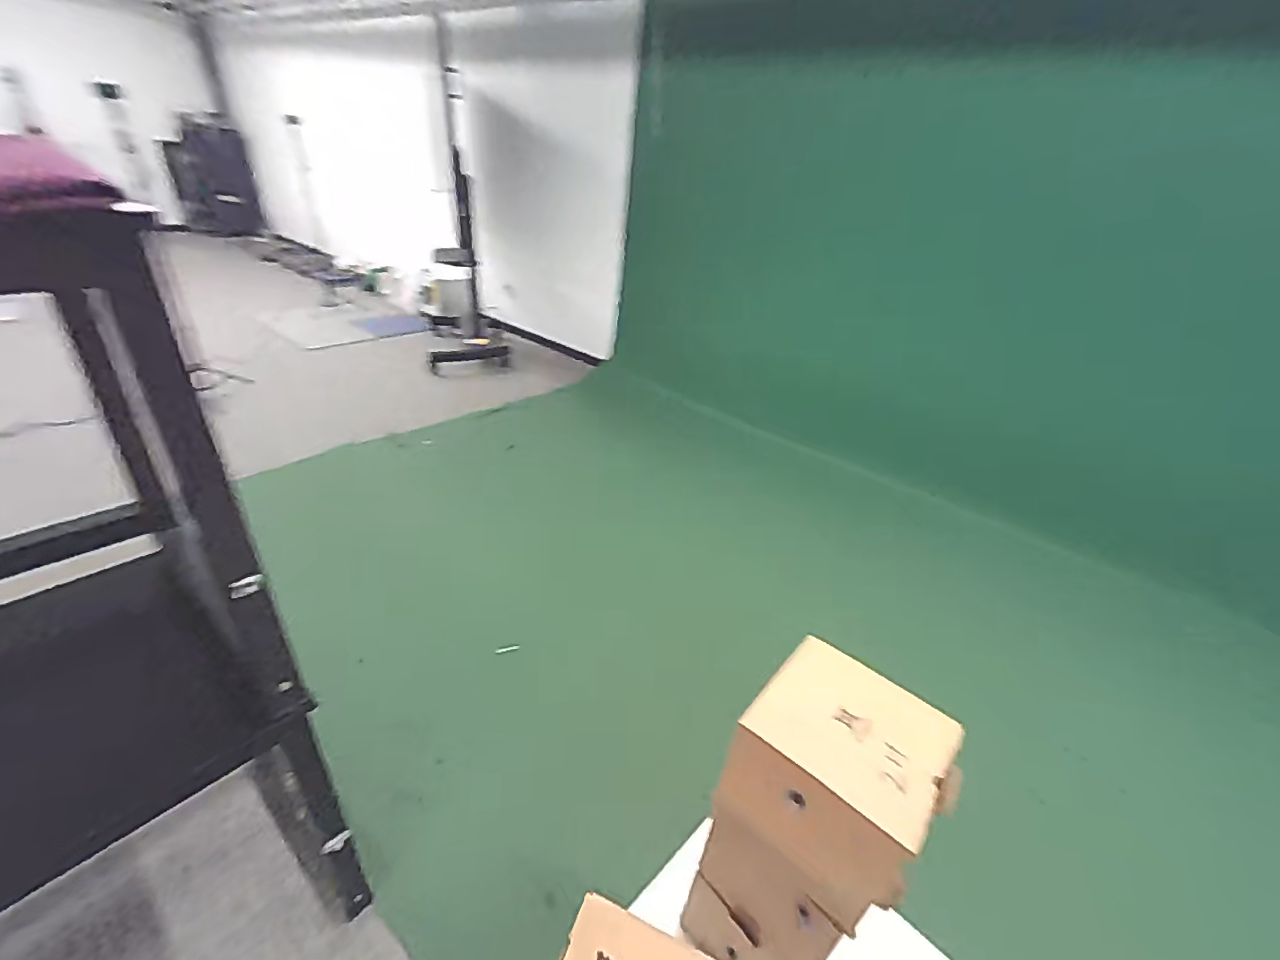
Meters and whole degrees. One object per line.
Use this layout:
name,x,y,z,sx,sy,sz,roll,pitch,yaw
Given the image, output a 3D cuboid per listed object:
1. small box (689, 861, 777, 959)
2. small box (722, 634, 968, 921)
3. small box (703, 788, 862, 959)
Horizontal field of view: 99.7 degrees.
small box,0.183,0.586,0.753,0.179,0.176,0.168,-23,42,-39
small box,0.208,0.310,0.580,0.179,0.176,0.168,29,39,31
small box,0.200,0.450,0.665,0.168,0.176,0.179,-20,41,-38
